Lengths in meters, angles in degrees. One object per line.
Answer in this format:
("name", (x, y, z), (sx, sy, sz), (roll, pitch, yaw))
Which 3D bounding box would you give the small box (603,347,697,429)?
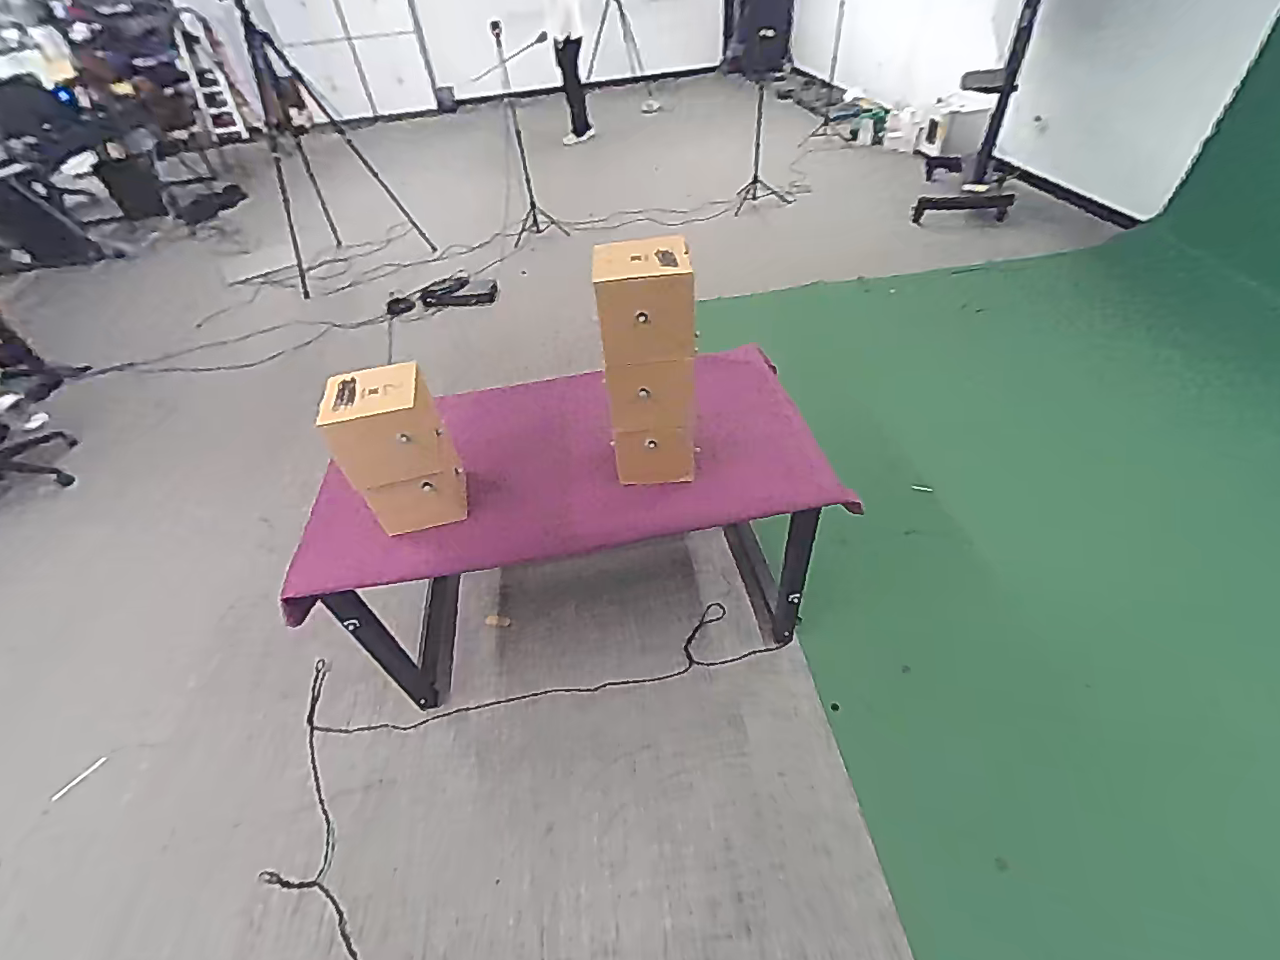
("small box", (0.024, -0.222, 1.132), (0.179, 0.176, 0.168), (-5, 46, 3))

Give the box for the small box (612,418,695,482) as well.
("small box", (0.037, -0.108, 1.248), (0.179, 0.176, 0.168), (-2, 45, 4))

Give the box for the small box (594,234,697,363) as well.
("small box", (0.013, -0.339, 1.017), (0.179, 0.176, 0.168), (-5, 45, 2))

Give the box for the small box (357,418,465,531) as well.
("small box", (-0.499, -0.011, 1.207), (0.179, 0.176, 0.168), (-13, 45, -6))
